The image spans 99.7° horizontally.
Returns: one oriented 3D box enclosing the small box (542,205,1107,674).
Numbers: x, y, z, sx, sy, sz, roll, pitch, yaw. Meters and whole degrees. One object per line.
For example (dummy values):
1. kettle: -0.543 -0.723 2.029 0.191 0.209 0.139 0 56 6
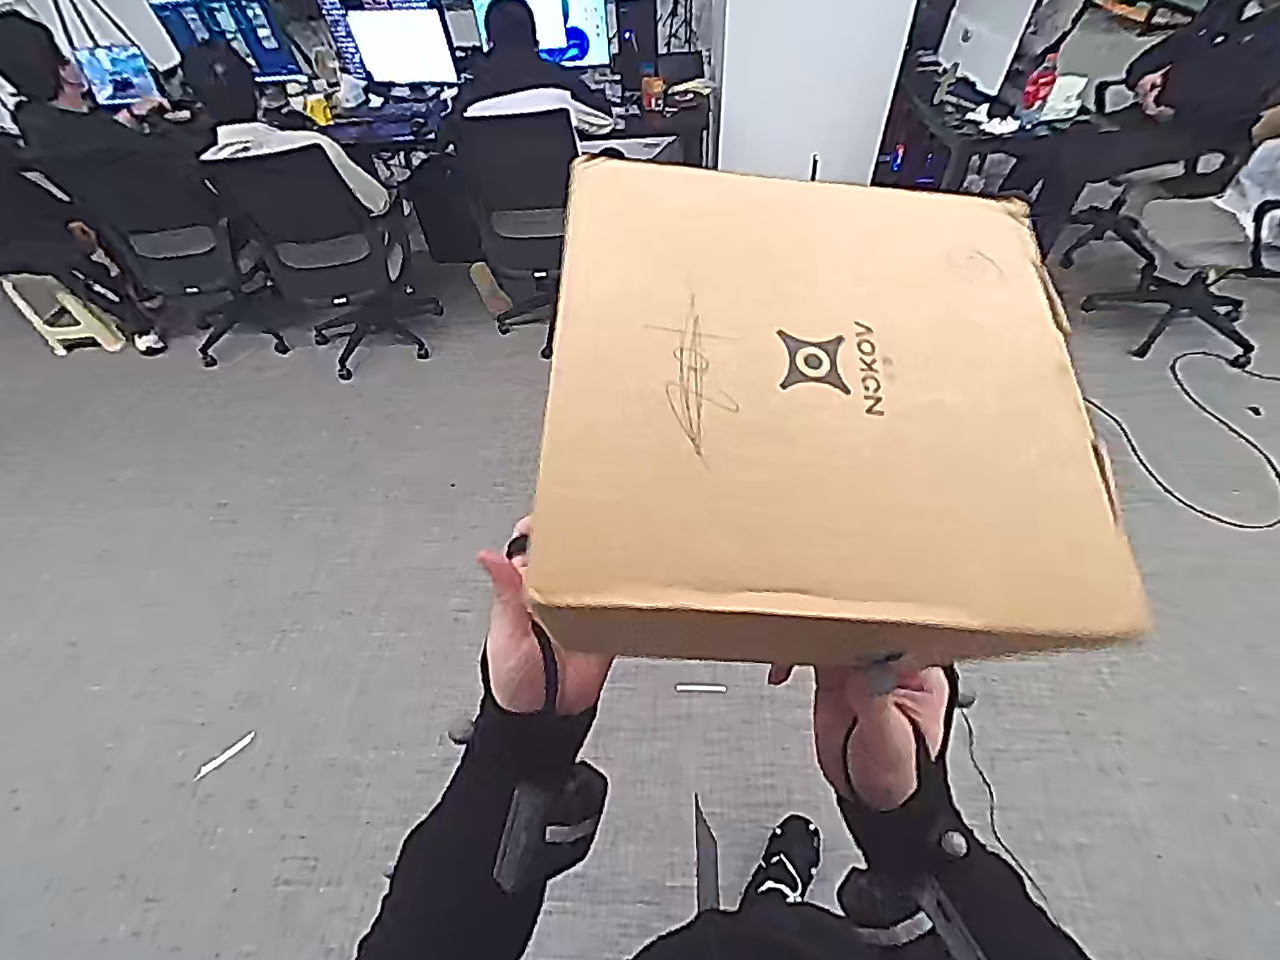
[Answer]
1. small box: 0.051 0.000 0.263 0.179 0.176 0.168 0 66 -4
